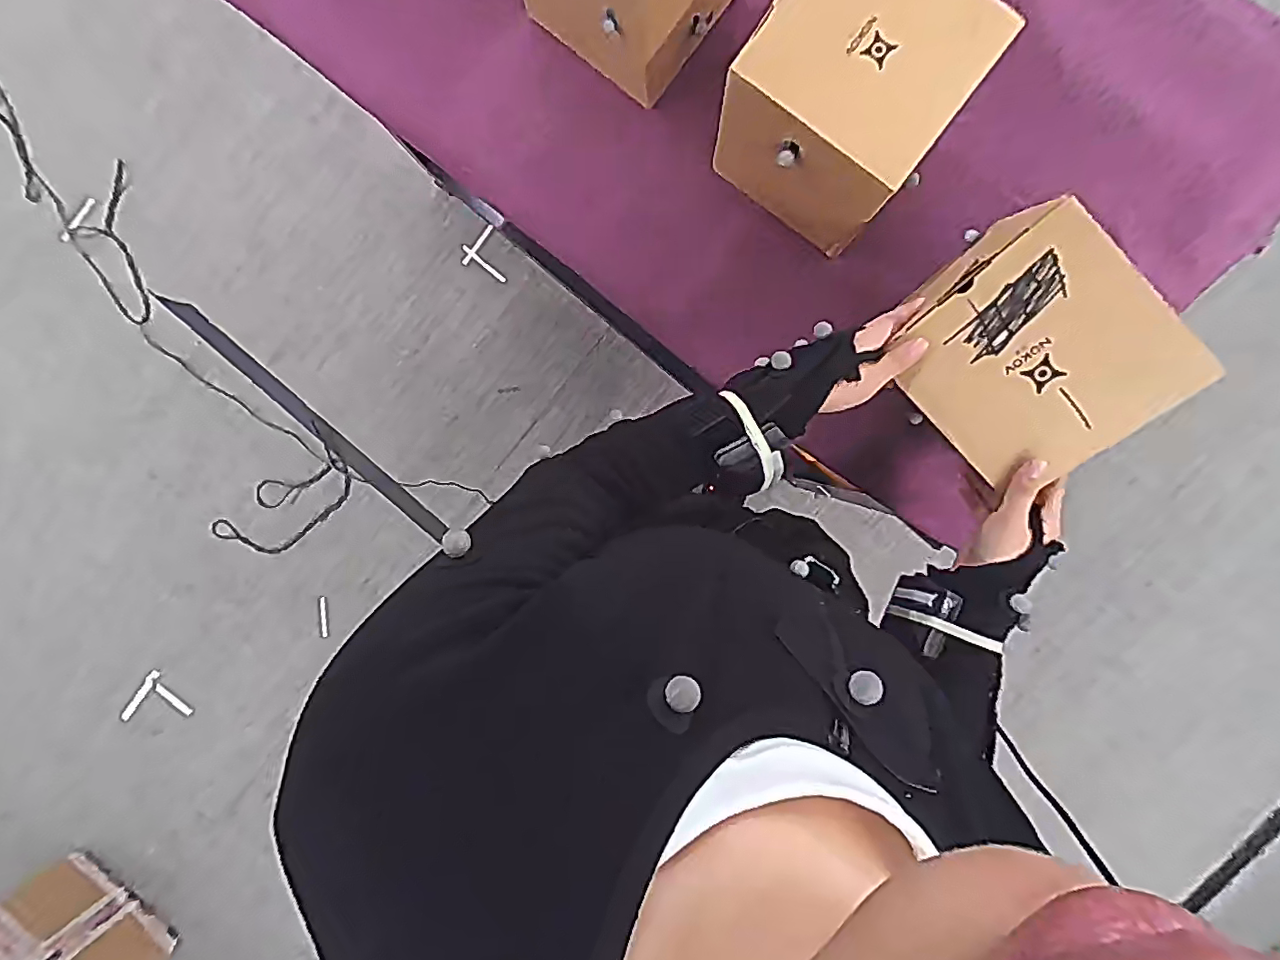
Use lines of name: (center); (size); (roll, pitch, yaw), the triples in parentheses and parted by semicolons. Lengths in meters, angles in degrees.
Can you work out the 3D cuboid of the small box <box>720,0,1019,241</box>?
small box: (0.197, -0.362, 0.524); (0.179, 0.176, 0.168); (38, 95, 1)
